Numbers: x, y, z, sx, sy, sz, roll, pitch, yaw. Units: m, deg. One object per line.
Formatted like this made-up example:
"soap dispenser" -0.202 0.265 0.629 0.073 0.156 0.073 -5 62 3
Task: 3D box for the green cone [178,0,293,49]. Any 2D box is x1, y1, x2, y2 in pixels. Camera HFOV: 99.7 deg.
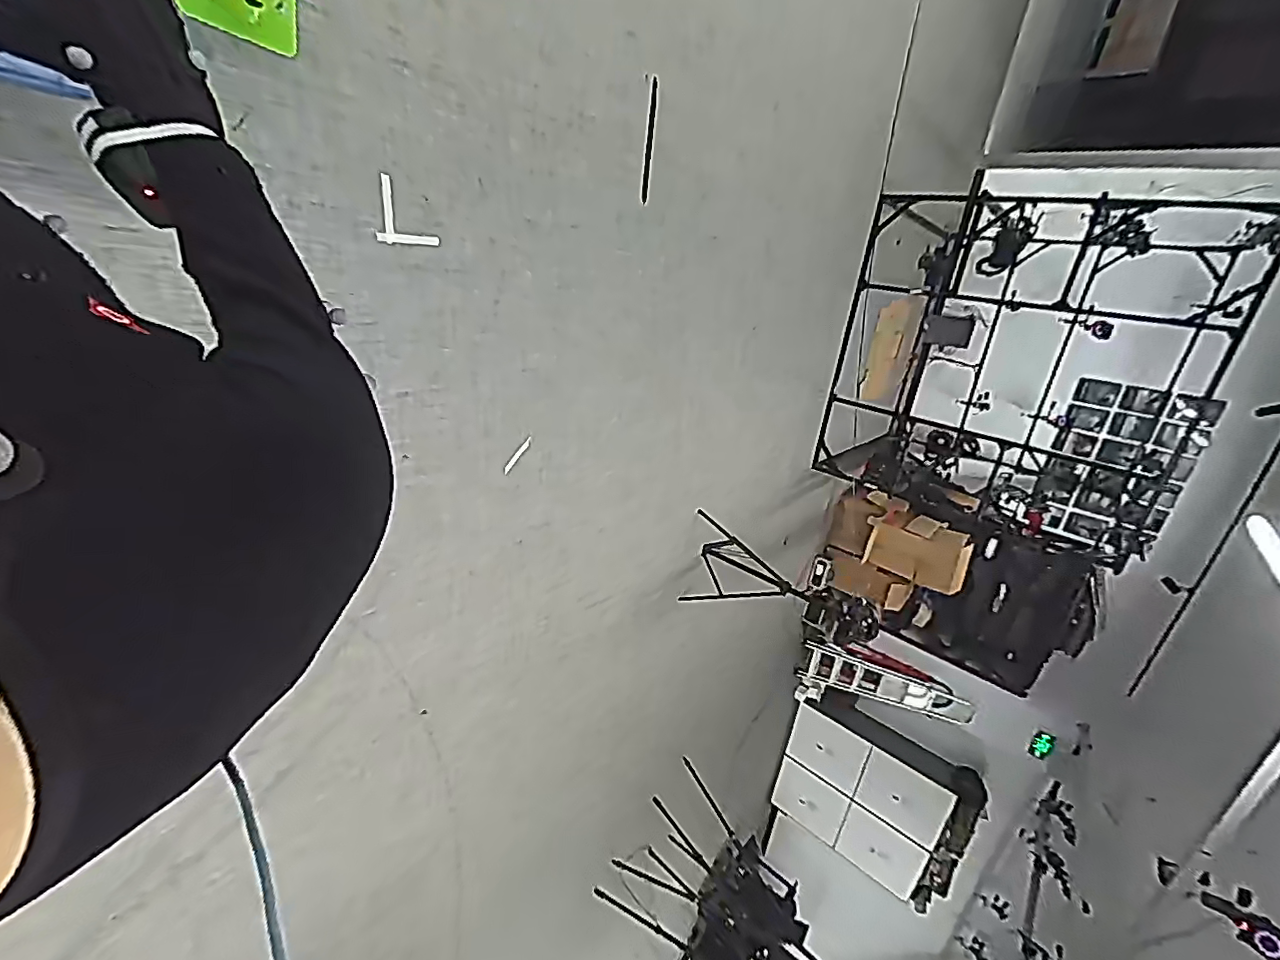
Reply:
"green cone" -0.644 -0.921 0.935 0.202 0.368 0.200 -14 119 -50
